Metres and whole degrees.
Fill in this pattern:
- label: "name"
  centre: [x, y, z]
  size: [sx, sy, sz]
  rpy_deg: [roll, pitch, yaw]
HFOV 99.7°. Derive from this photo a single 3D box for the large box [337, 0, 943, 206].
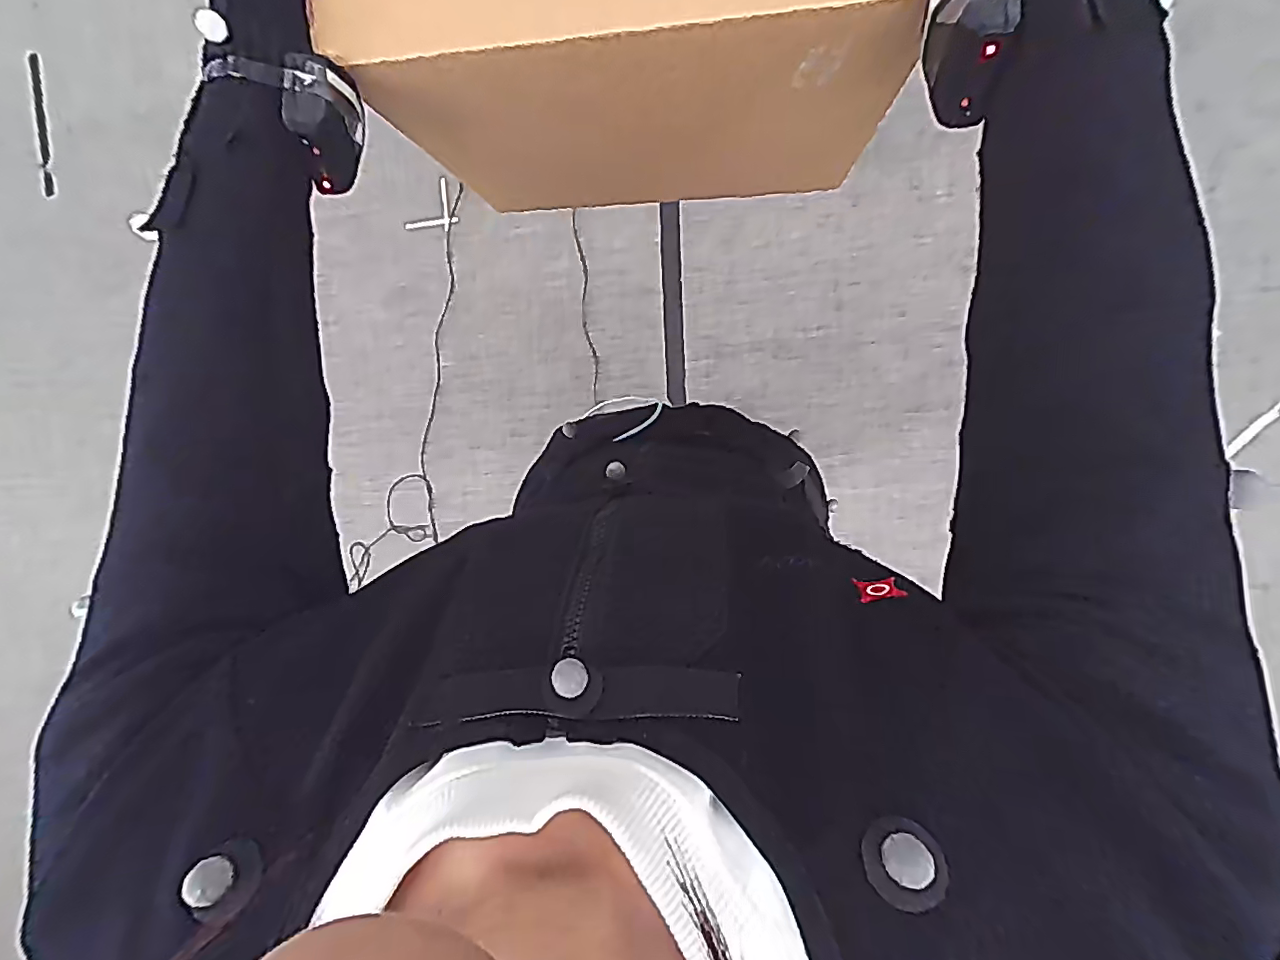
- label: "large box"
  centre: [0.005, -0.462, 0.465]
  size: [0.408, 0.320, 0.320]
  rpy_deg: [-1, 100, 7]
